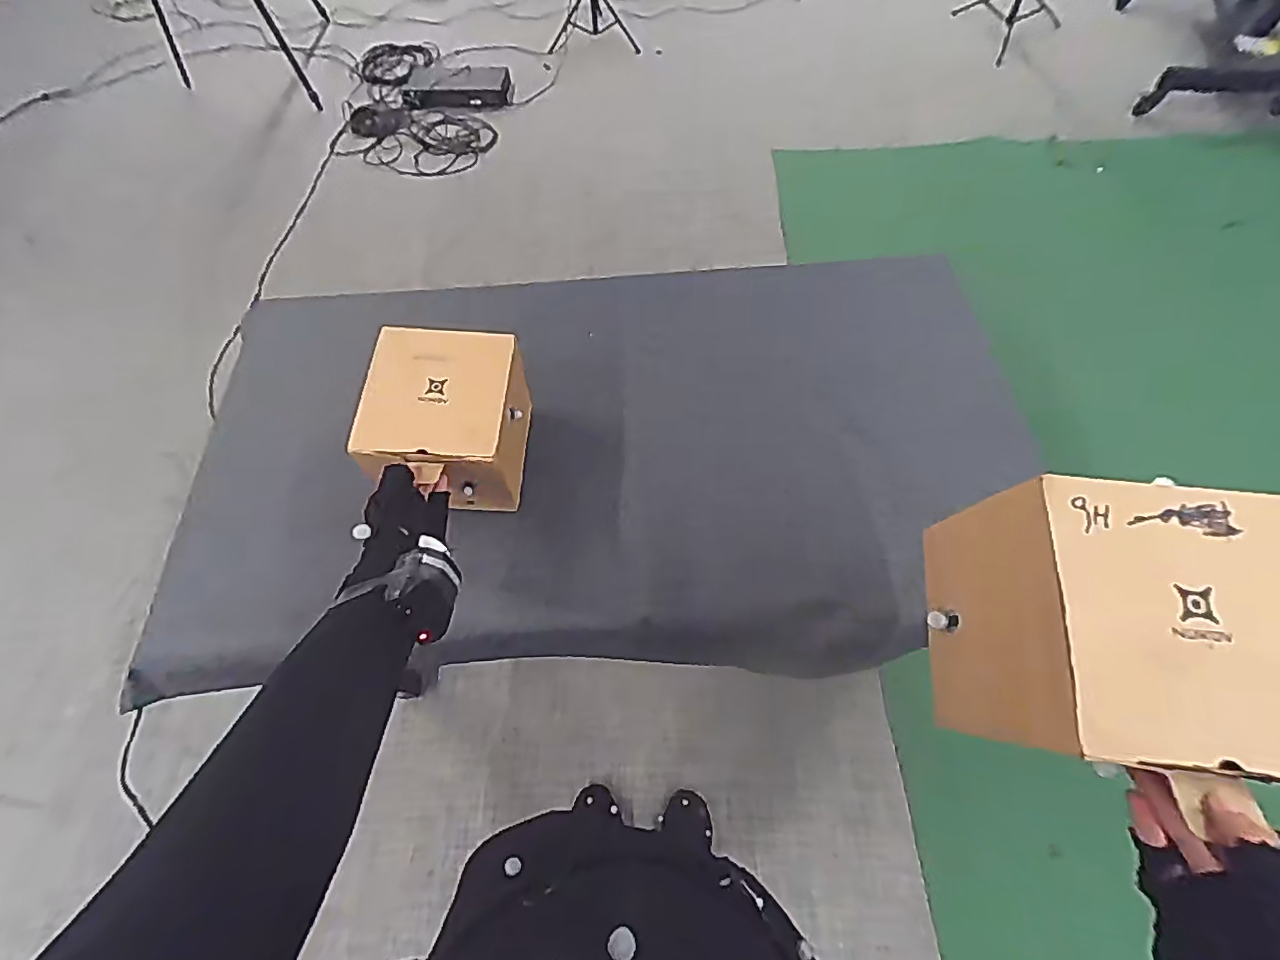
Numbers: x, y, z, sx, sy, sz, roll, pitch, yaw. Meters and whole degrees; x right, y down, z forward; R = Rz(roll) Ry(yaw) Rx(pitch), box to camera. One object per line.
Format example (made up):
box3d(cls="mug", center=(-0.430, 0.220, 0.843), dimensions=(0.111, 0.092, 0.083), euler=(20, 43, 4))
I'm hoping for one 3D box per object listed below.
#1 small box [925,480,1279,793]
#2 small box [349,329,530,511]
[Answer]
box3d(cls="small box", center=(0.338, 0.114, 0.407), dimensions=(0.168, 0.176, 0.179), euler=(6, 72, 2))
box3d(cls="small box", center=(-0.243, -0.069, 0.706), dimensions=(0.168, 0.176, 0.179), euler=(4, 64, -3))
